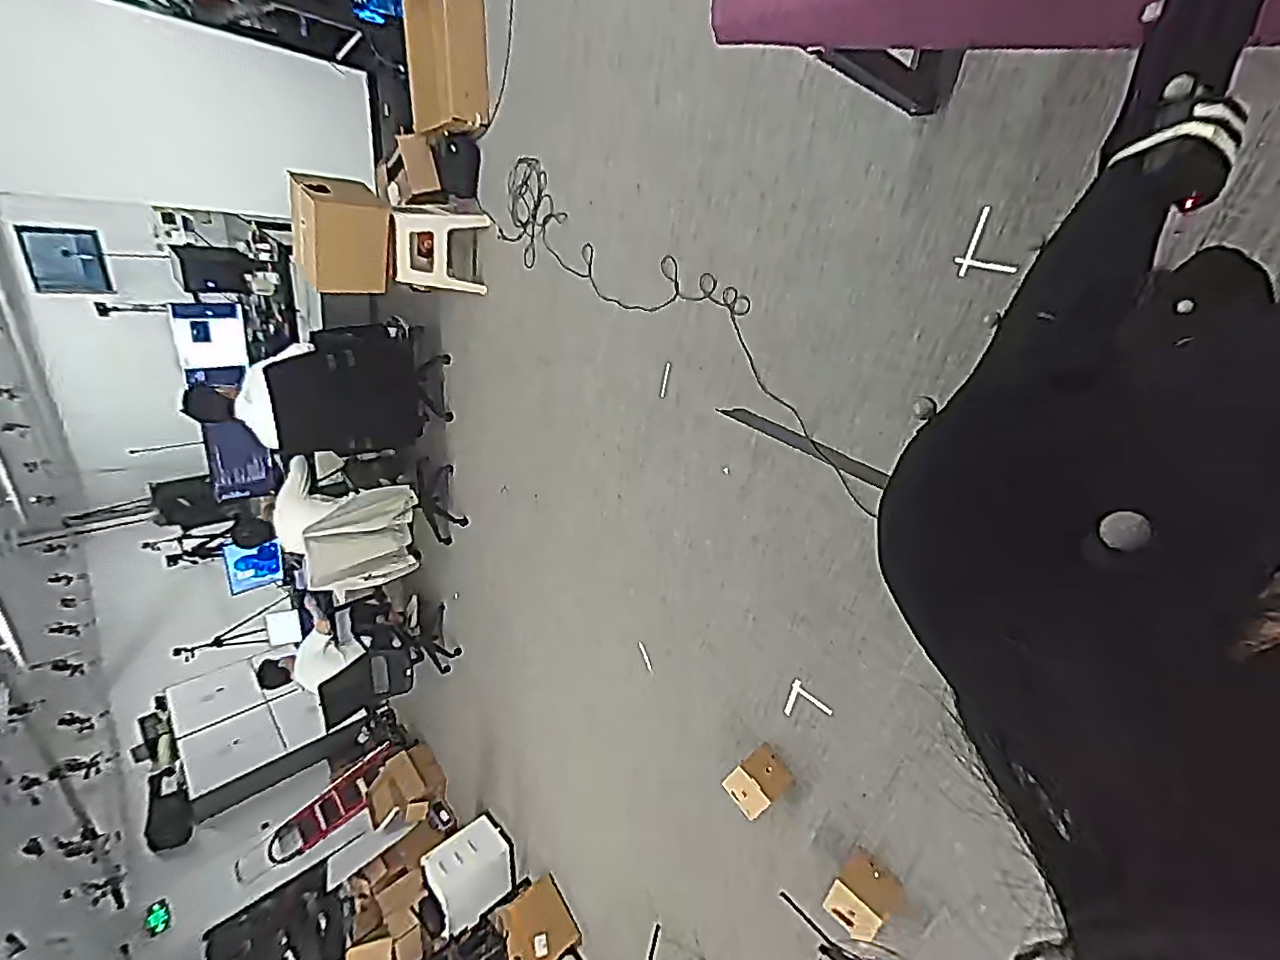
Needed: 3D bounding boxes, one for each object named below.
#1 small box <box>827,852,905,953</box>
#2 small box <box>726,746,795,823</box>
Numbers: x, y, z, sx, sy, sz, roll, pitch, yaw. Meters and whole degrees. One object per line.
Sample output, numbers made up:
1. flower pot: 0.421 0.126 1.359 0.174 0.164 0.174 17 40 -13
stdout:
1. small box: 0.772 1.430 1.839 0.168 0.176 0.179 31 122 37
2. small box: 0.470 1.166 2.082 0.168 0.176 0.179 46 131 28
